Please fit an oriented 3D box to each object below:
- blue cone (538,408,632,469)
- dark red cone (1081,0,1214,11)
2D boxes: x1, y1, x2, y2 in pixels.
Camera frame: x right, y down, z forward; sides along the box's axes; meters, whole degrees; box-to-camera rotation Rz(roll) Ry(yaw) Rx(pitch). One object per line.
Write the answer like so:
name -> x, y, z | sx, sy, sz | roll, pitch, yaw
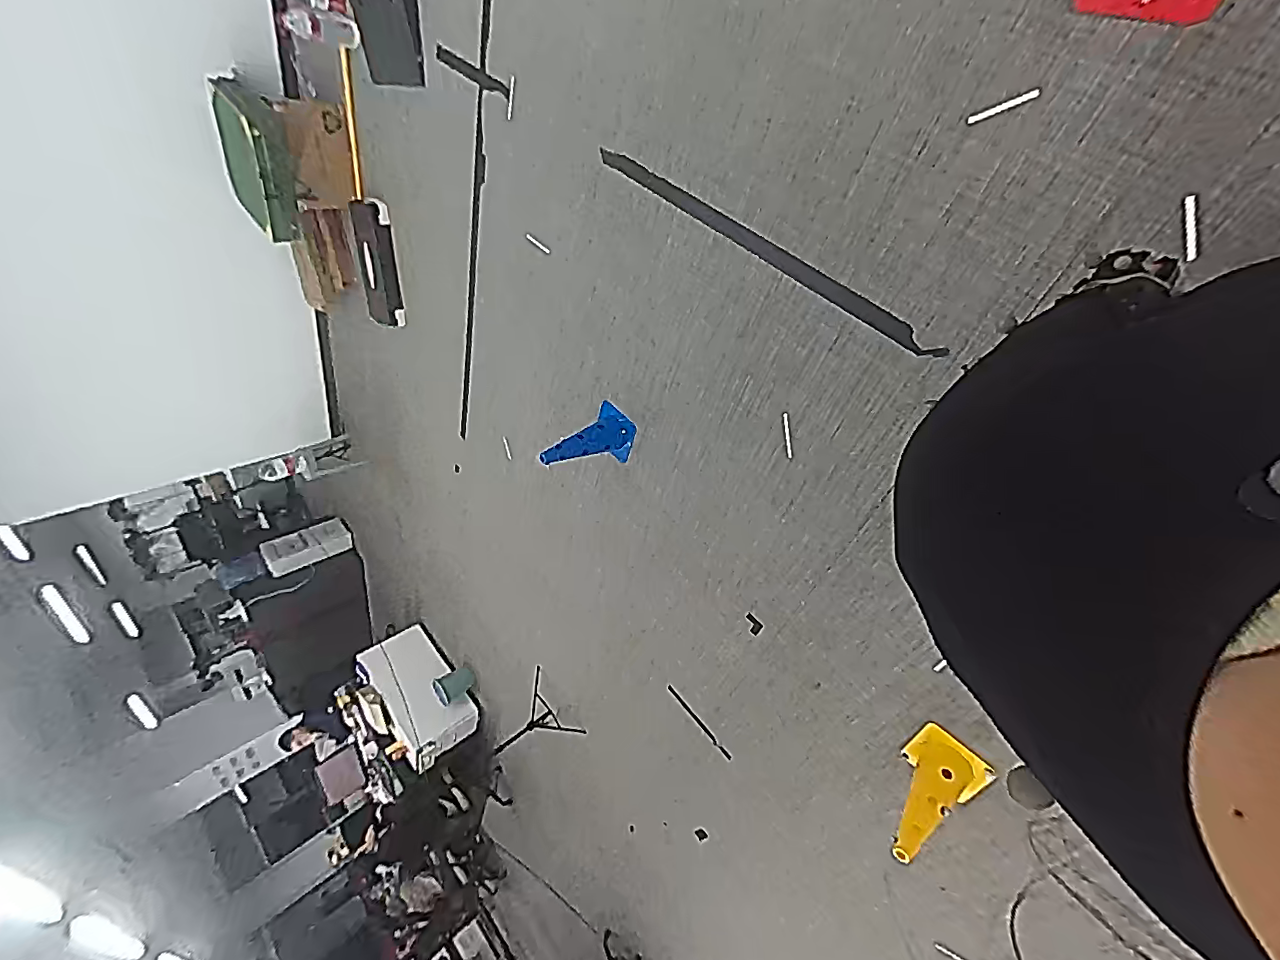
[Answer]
blue cone -> -0.223, -0.124, 2.058 | 0.193, 0.380, 0.192 | 44, 137, 24
dark red cone -> 0.677, -0.765, 0.688 | 0.202, 0.394, 0.201 | 37, 134, 30
